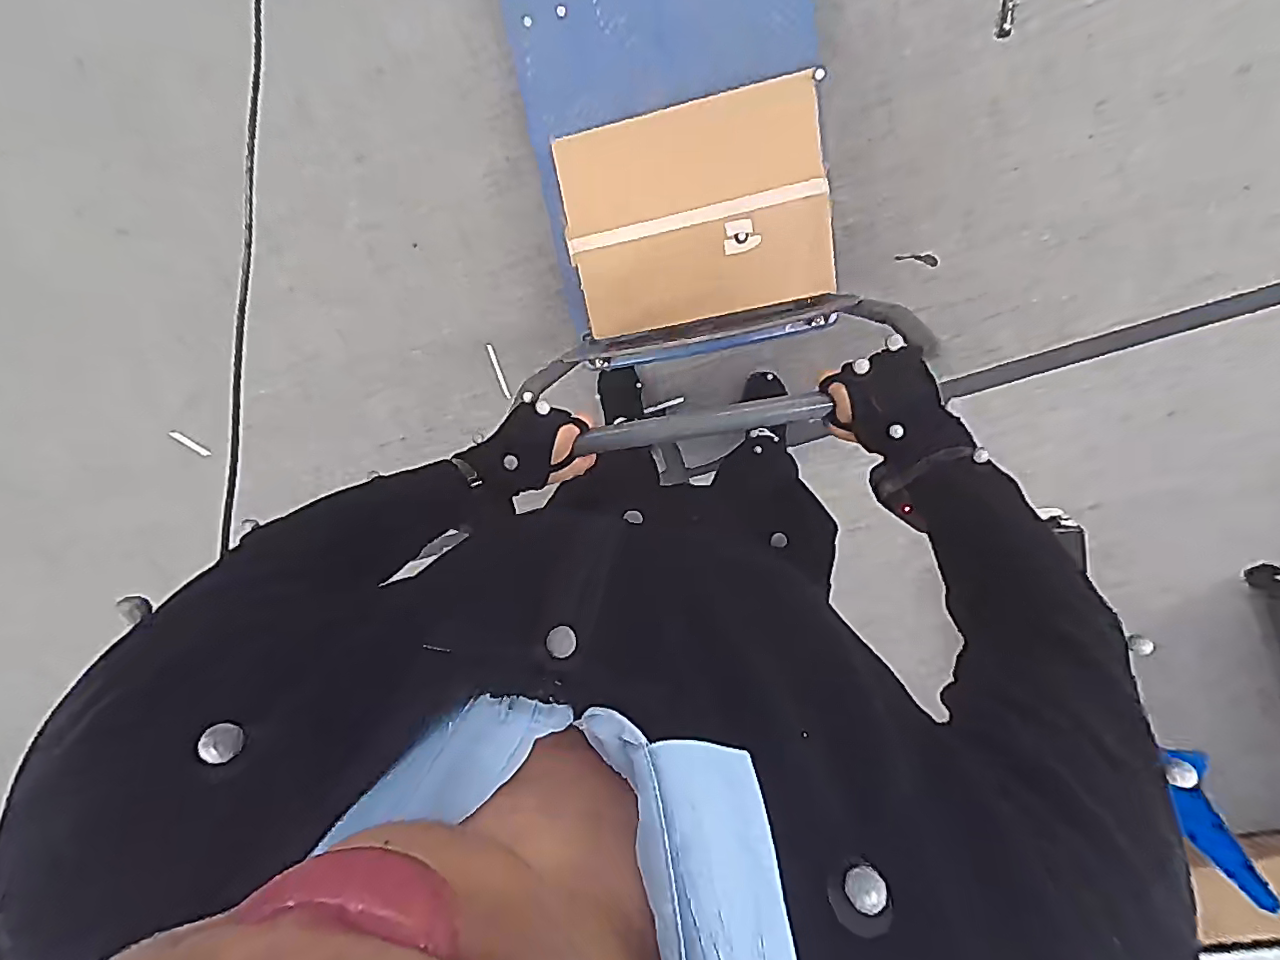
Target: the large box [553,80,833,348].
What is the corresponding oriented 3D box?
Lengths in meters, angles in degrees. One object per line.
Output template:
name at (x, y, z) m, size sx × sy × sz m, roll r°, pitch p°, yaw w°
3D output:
large box at (0.099, -0.445, 0.997) m, size 0.408 × 0.320 × 0.320 m, roll -10°, pitch 106°, yaw 9°
